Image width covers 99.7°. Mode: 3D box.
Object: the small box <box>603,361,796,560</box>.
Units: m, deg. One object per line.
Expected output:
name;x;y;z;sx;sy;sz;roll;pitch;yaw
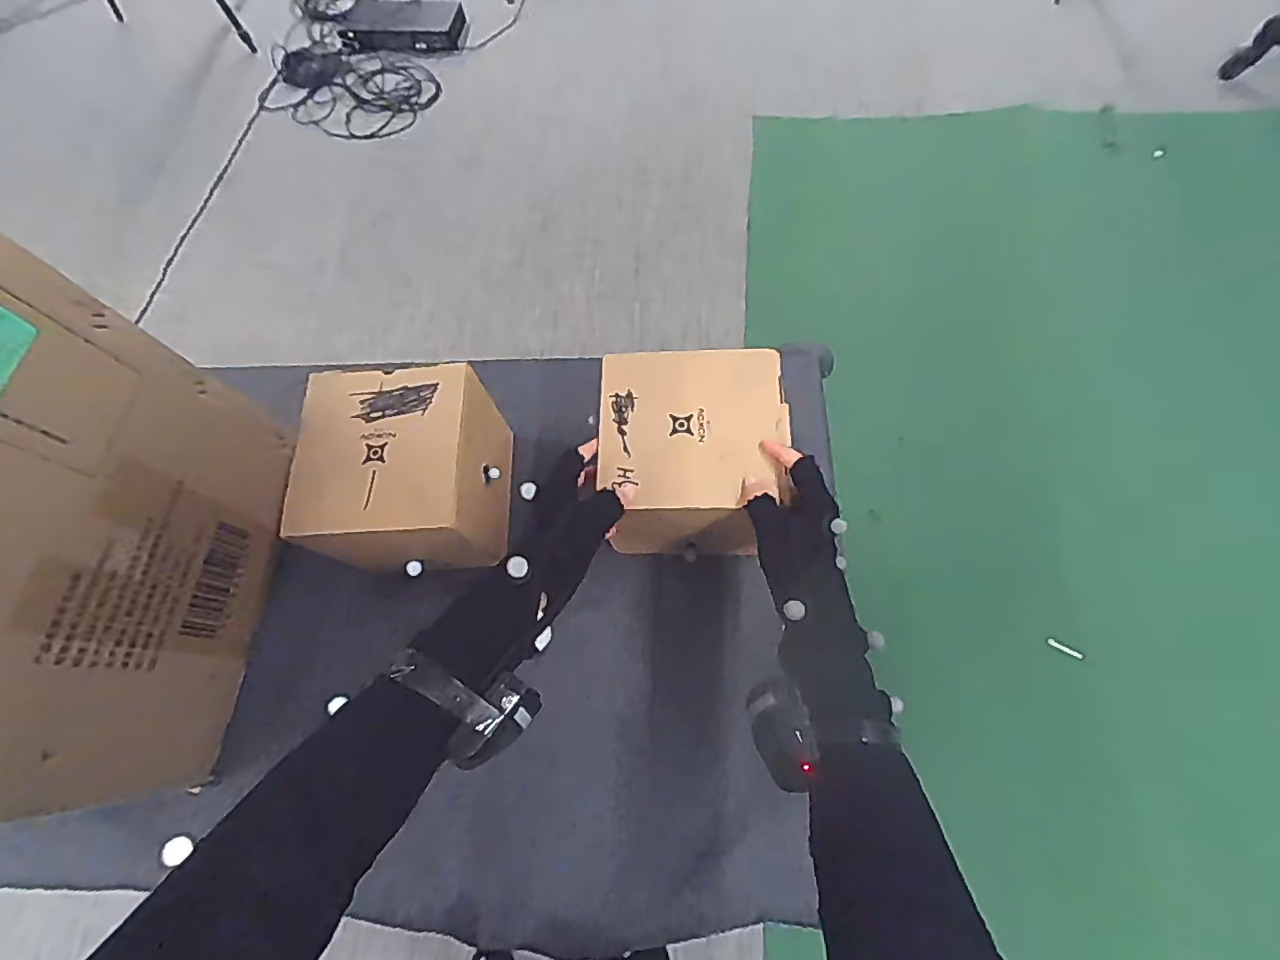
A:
small box;0.060;-0.013;0.589;0.179;0.176;0.168;0;68;4
